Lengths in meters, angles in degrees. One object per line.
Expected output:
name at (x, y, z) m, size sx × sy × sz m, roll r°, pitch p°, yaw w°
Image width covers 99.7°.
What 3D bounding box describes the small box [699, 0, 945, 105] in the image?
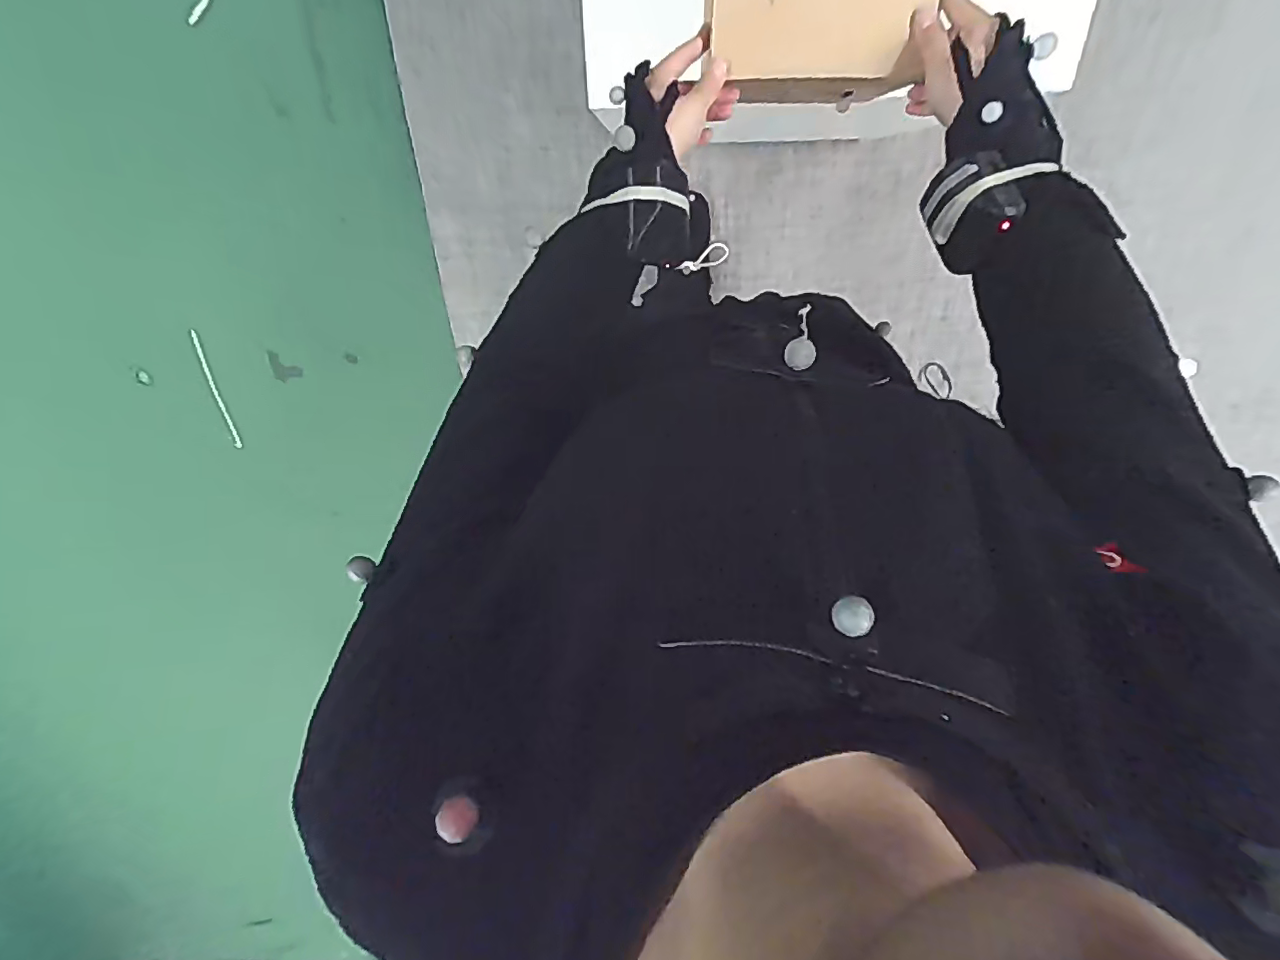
small box at (0.145, -0.431, 0.461) m, size 0.179 × 0.176 × 0.168 m, roll 1°, pitch 119°, yaw 3°
